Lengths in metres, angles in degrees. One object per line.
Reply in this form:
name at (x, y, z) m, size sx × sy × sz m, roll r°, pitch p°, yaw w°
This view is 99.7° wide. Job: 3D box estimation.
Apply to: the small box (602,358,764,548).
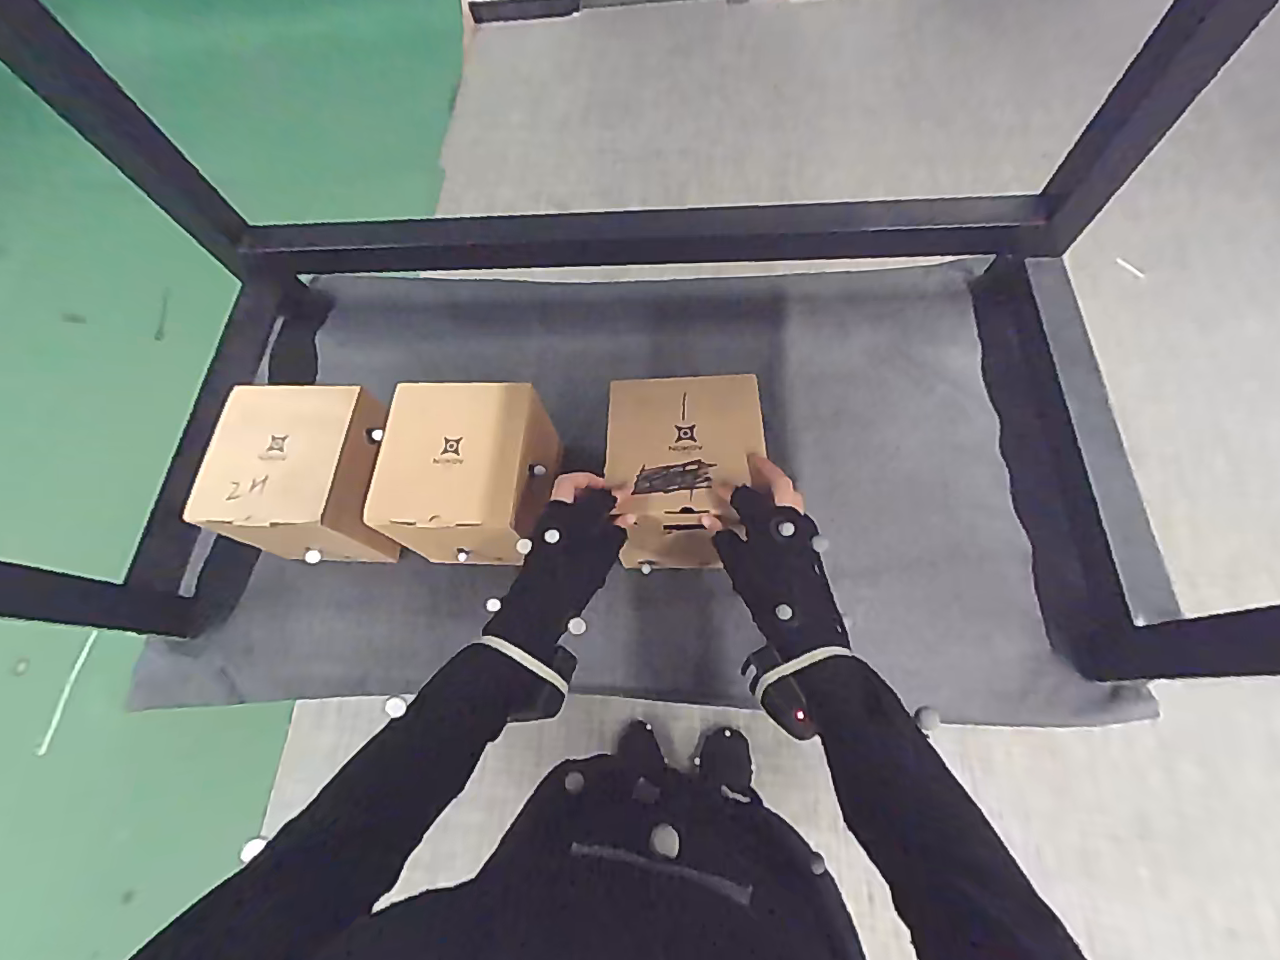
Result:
small box at (0.053, -0.021, 0.643) m, size 0.168 × 0.176 × 0.179 m, roll -2°, pitch 66°, yaw 6°
